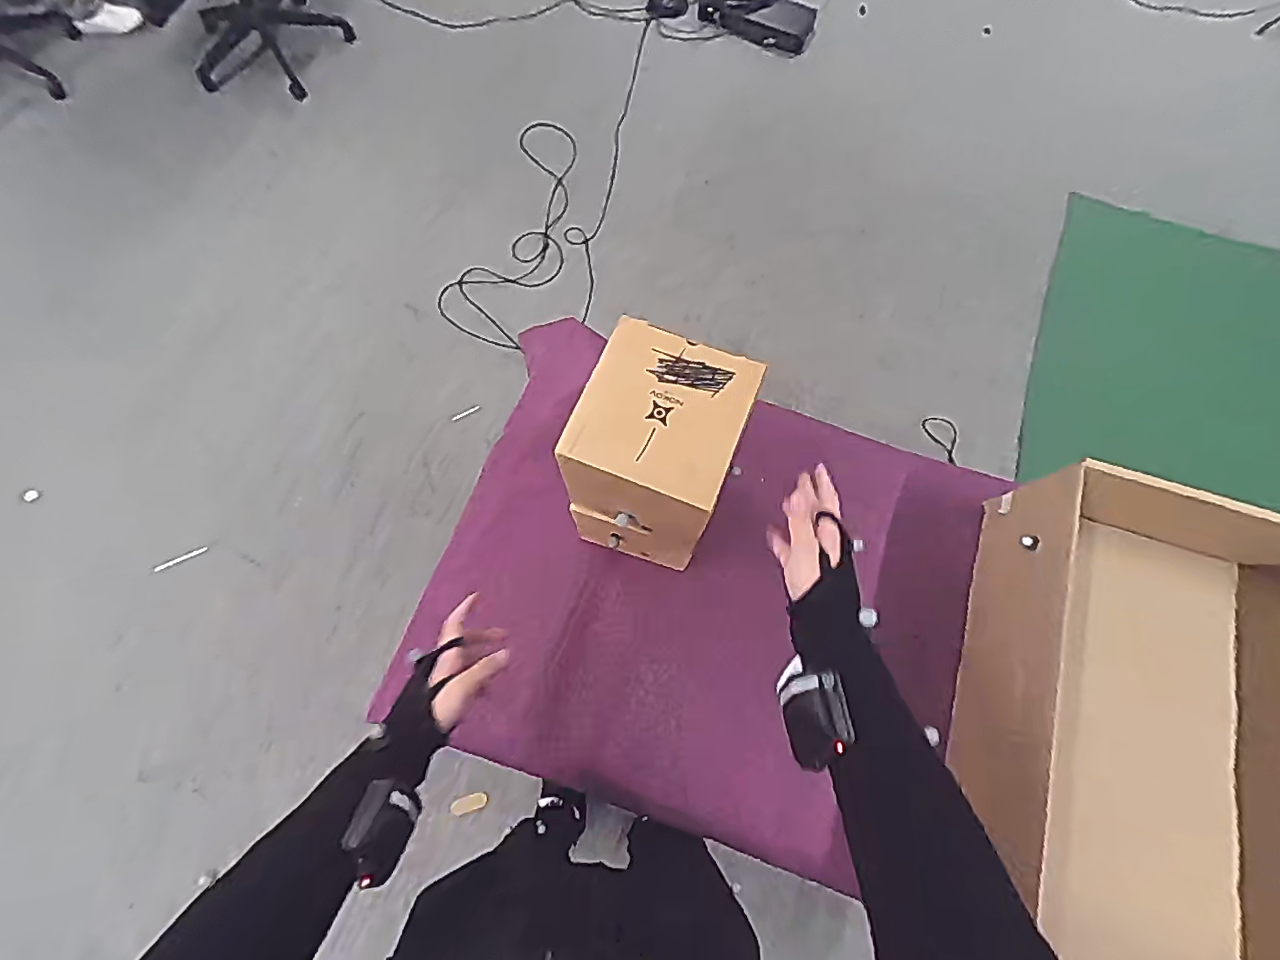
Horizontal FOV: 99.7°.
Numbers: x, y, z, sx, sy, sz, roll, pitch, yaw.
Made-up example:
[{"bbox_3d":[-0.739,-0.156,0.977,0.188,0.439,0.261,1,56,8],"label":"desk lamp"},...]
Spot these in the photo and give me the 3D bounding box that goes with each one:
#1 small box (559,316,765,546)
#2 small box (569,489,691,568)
[{"bbox_3d":[0.023,-0.046,0.620,0.168,0.176,0.179,21,71,7],"label":"small box"},{"bbox_3d":[0.013,0.012,0.774,0.168,0.176,0.179,17,70,6],"label":"small box"}]
